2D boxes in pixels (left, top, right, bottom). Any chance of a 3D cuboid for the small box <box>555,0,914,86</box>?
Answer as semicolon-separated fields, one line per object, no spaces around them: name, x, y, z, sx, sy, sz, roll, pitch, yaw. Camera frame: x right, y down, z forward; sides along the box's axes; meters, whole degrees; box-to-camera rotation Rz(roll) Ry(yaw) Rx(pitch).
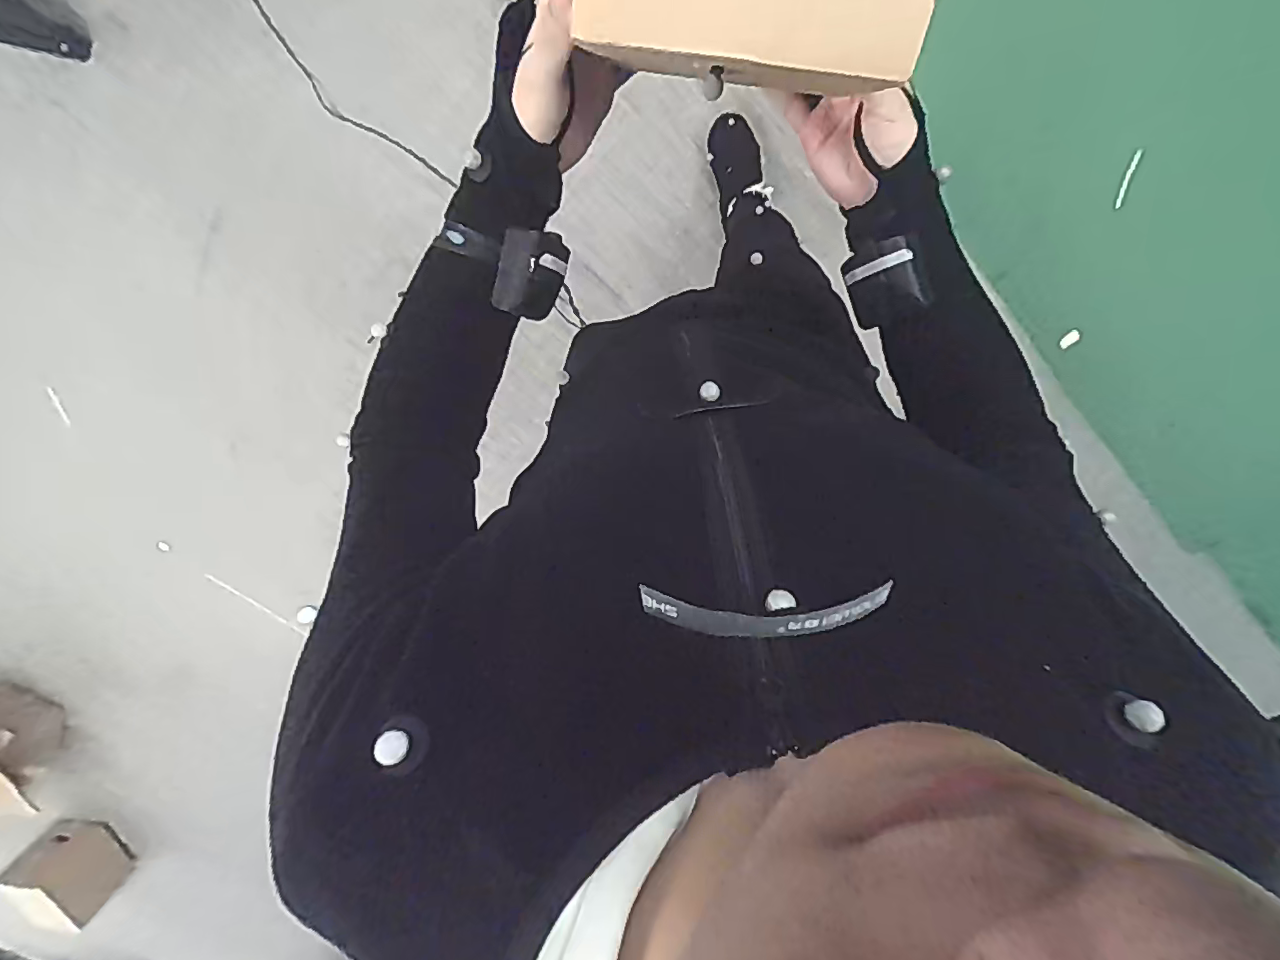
small box;0.059;-0.328;0.296;0.179;0.176;0.168;8;125;2
